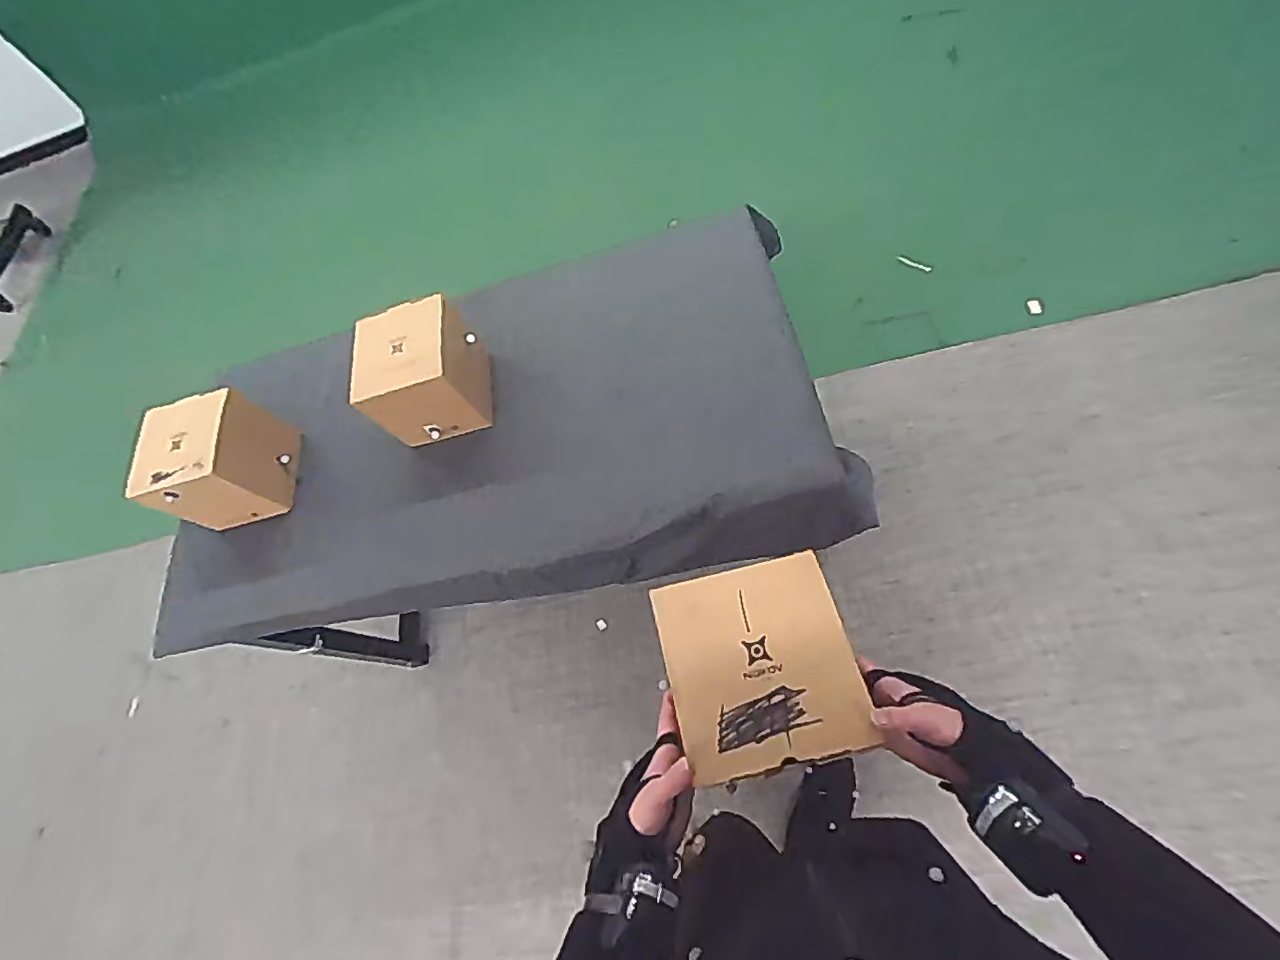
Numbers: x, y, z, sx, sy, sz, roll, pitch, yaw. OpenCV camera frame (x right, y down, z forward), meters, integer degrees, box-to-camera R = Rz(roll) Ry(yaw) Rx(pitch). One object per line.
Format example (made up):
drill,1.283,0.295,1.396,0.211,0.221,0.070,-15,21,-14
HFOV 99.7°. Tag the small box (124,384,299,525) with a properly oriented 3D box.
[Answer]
small box,-0.753,-0.039,0.972,0.168,0.176,0.179,-14,64,8

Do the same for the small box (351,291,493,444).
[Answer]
small box,-0.374,-0.190,0.949,0.168,0.176,0.179,-15,66,9

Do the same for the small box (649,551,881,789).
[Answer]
small box,0.115,0.196,0.554,0.168,0.176,0.179,-14,62,0
